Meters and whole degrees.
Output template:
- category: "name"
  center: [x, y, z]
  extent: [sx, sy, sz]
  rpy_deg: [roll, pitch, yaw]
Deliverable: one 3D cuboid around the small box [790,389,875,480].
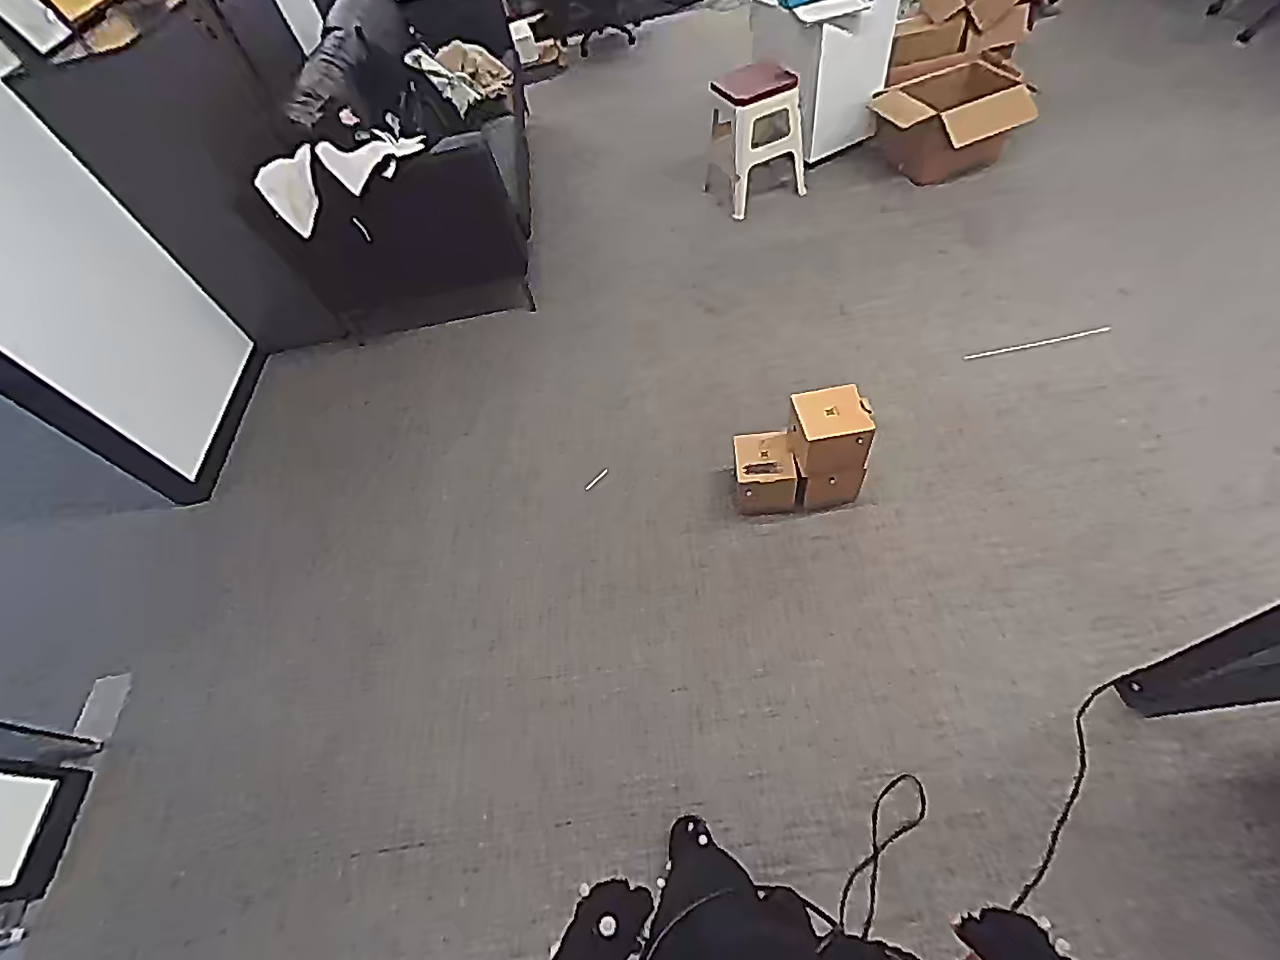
- category: "small box"
  center: [0.515, -0.119, 1.480]
  extent: [0.179, 0.176, 0.168]
  rpy_deg: [-11, 54, 3]
